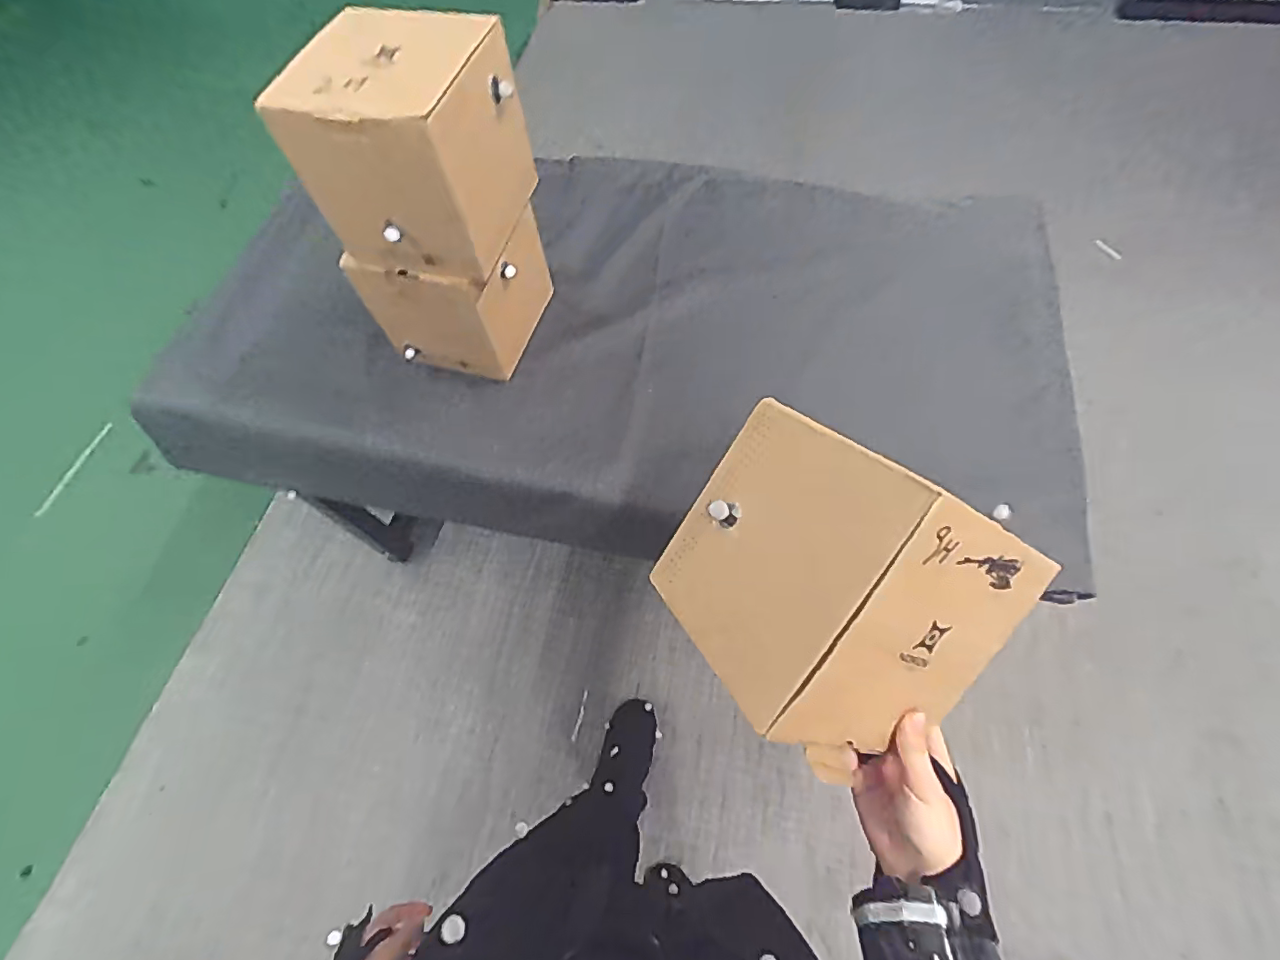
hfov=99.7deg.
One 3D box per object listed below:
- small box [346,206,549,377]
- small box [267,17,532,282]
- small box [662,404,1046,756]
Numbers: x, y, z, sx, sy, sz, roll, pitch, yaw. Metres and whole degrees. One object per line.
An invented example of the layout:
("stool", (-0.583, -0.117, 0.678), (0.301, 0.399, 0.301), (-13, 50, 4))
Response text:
("small box", (-0.234, -0.262, 0.715), (0.168, 0.176, 0.179), (14, 63, 10))
("small box", (-0.227, -0.343, 0.570), (0.168, 0.176, 0.179), (11, 63, 10))
("small box", (0.139, 0.070, 0.406), (0.179, 0.168, 0.176), (-59, 34, 12))
